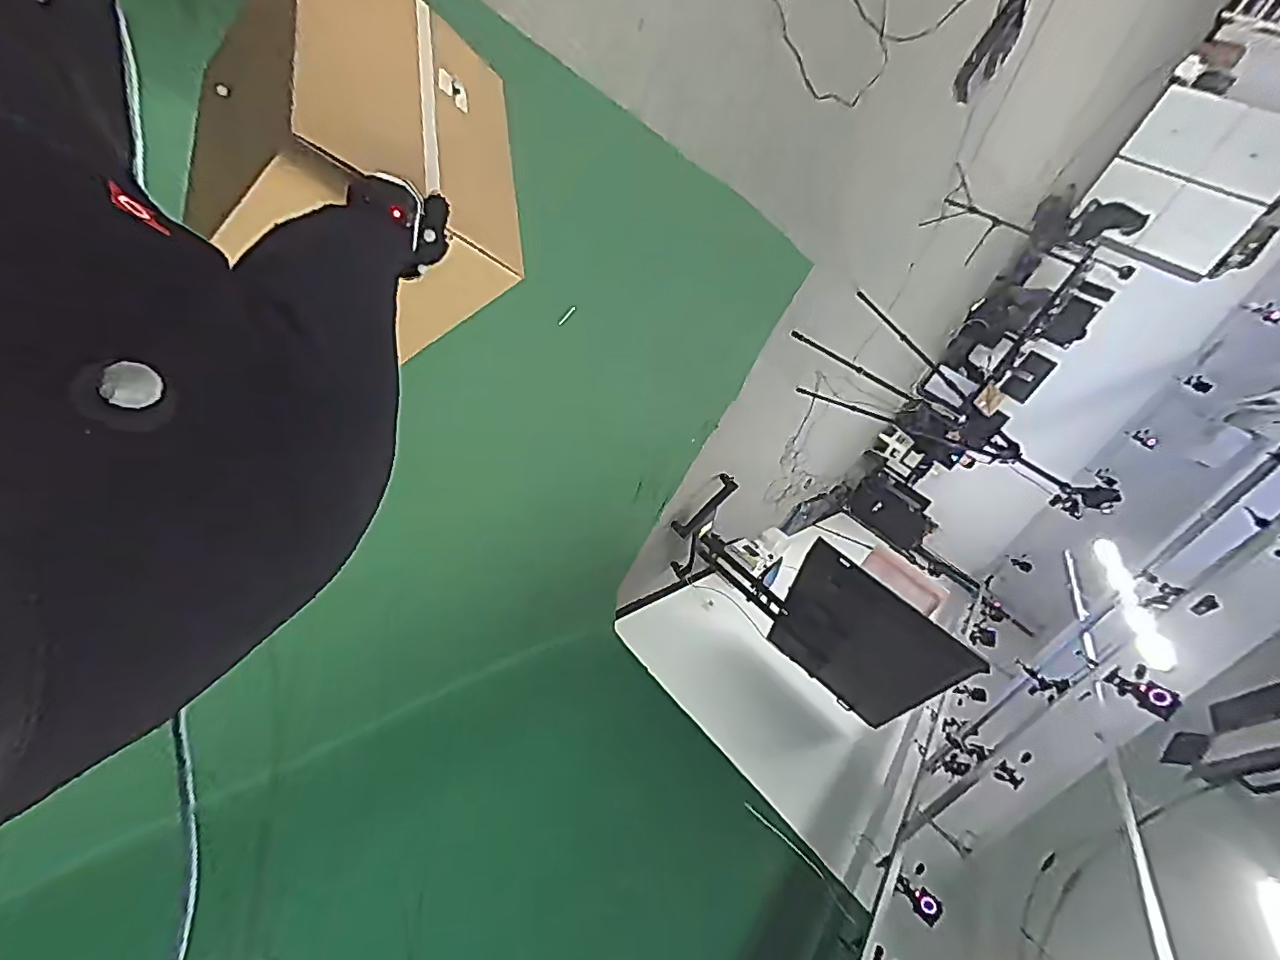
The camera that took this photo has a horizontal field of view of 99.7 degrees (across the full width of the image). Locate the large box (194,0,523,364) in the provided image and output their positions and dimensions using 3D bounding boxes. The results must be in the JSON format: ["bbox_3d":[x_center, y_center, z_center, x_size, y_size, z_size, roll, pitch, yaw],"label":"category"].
[{"bbox_3d":[-0.412,-0.448,0.804,0.320,0.408,0.320,-21,159,30],"label":"large box"}]
